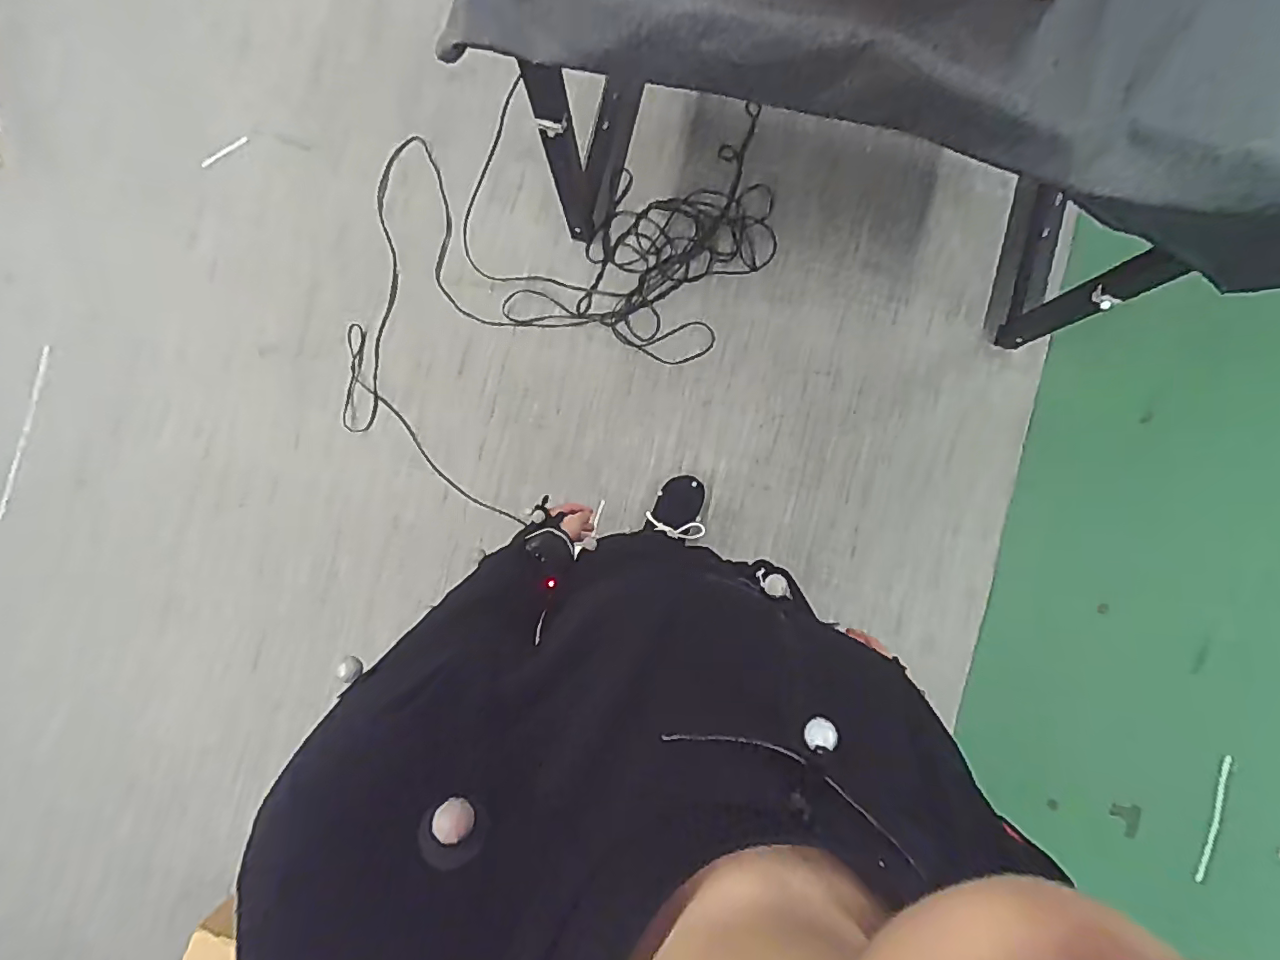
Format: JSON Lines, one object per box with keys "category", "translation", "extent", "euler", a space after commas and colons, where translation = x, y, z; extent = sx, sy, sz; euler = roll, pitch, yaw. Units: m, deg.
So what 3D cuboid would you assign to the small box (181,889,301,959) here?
{"category": "small box", "translation": [-0.933, 1.107, 1.254], "extent": [0.168, 0.176, 0.179], "euler": [19, 89, 3]}
